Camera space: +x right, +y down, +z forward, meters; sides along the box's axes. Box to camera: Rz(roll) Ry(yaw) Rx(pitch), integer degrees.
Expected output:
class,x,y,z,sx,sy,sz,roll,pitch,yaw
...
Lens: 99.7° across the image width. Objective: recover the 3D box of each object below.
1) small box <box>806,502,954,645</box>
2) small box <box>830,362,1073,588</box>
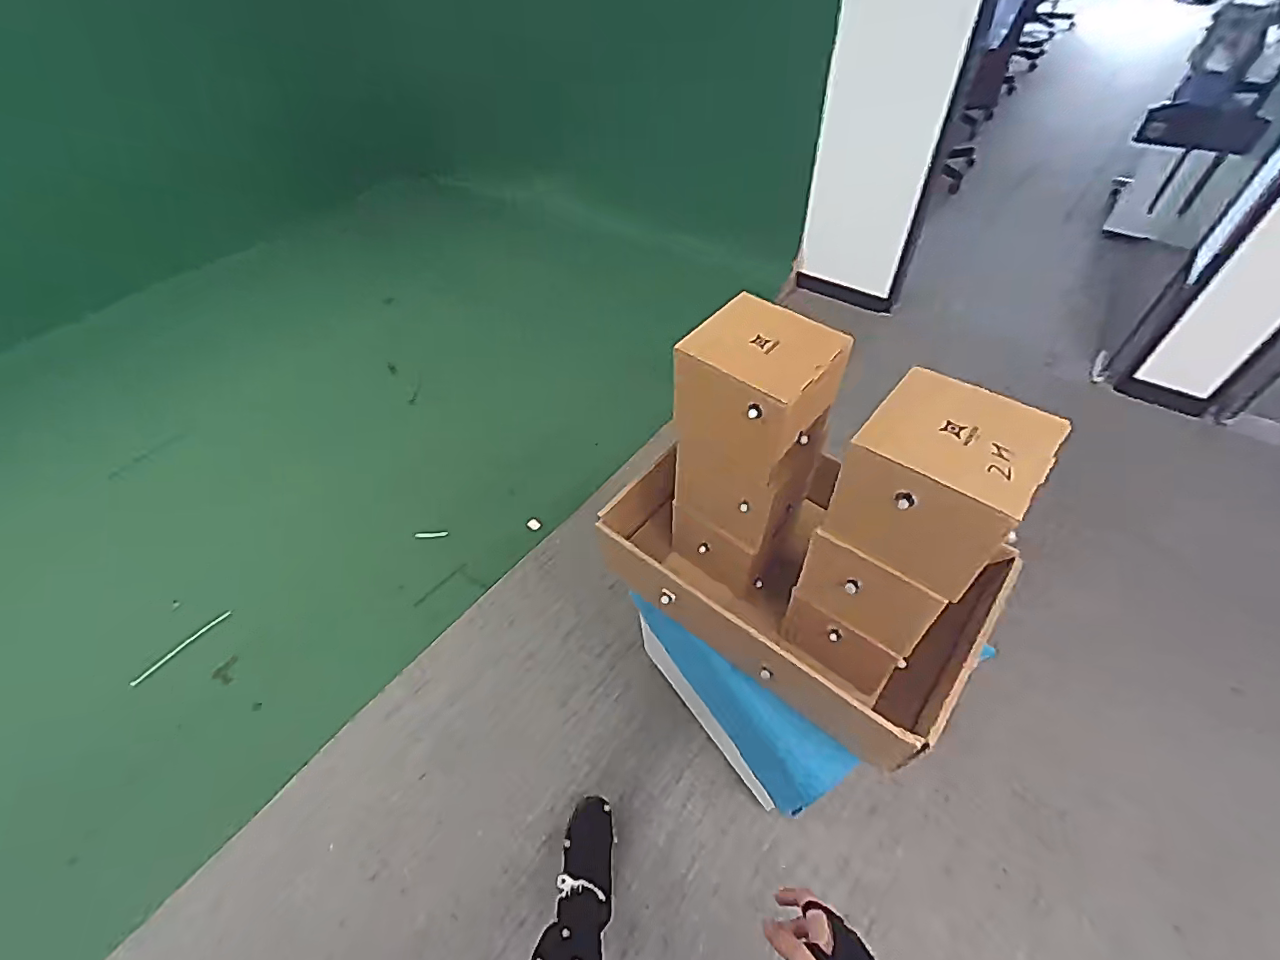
class,x,y,z,sx,sy,sz,roll,pitch,yaw
small box,0.356,0.101,0.769,0.179,0.176,0.168,30,60,28
small box,0.351,-0.004,0.641,0.179,0.176,0.168,32,61,28
